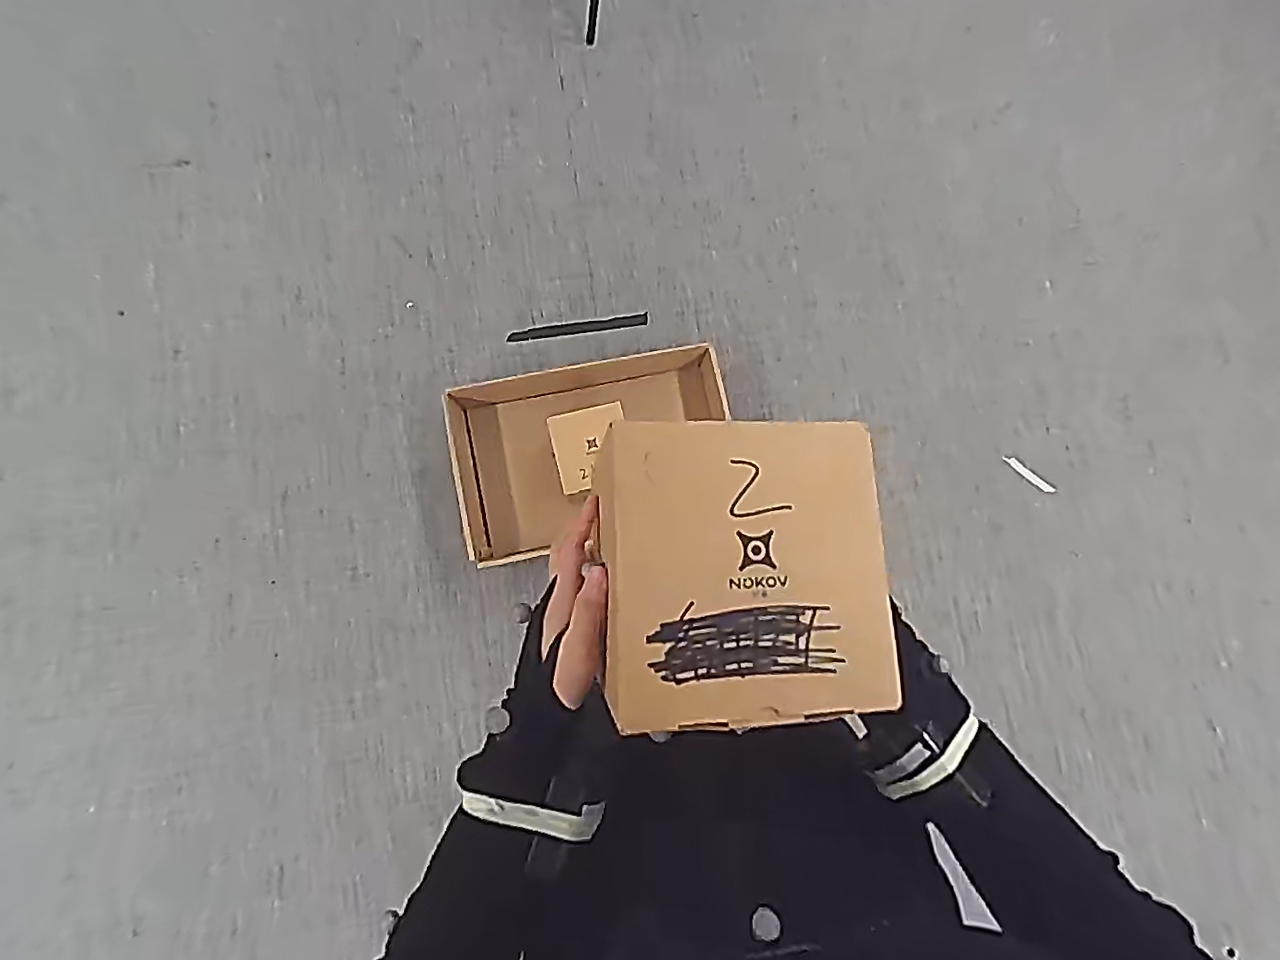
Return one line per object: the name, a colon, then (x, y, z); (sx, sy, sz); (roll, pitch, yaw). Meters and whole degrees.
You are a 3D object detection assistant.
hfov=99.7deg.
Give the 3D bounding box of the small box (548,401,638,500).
small box: (-0.108, -0.062, 1.238); (0.168, 0.176, 0.179); (-13, 84, -5)
